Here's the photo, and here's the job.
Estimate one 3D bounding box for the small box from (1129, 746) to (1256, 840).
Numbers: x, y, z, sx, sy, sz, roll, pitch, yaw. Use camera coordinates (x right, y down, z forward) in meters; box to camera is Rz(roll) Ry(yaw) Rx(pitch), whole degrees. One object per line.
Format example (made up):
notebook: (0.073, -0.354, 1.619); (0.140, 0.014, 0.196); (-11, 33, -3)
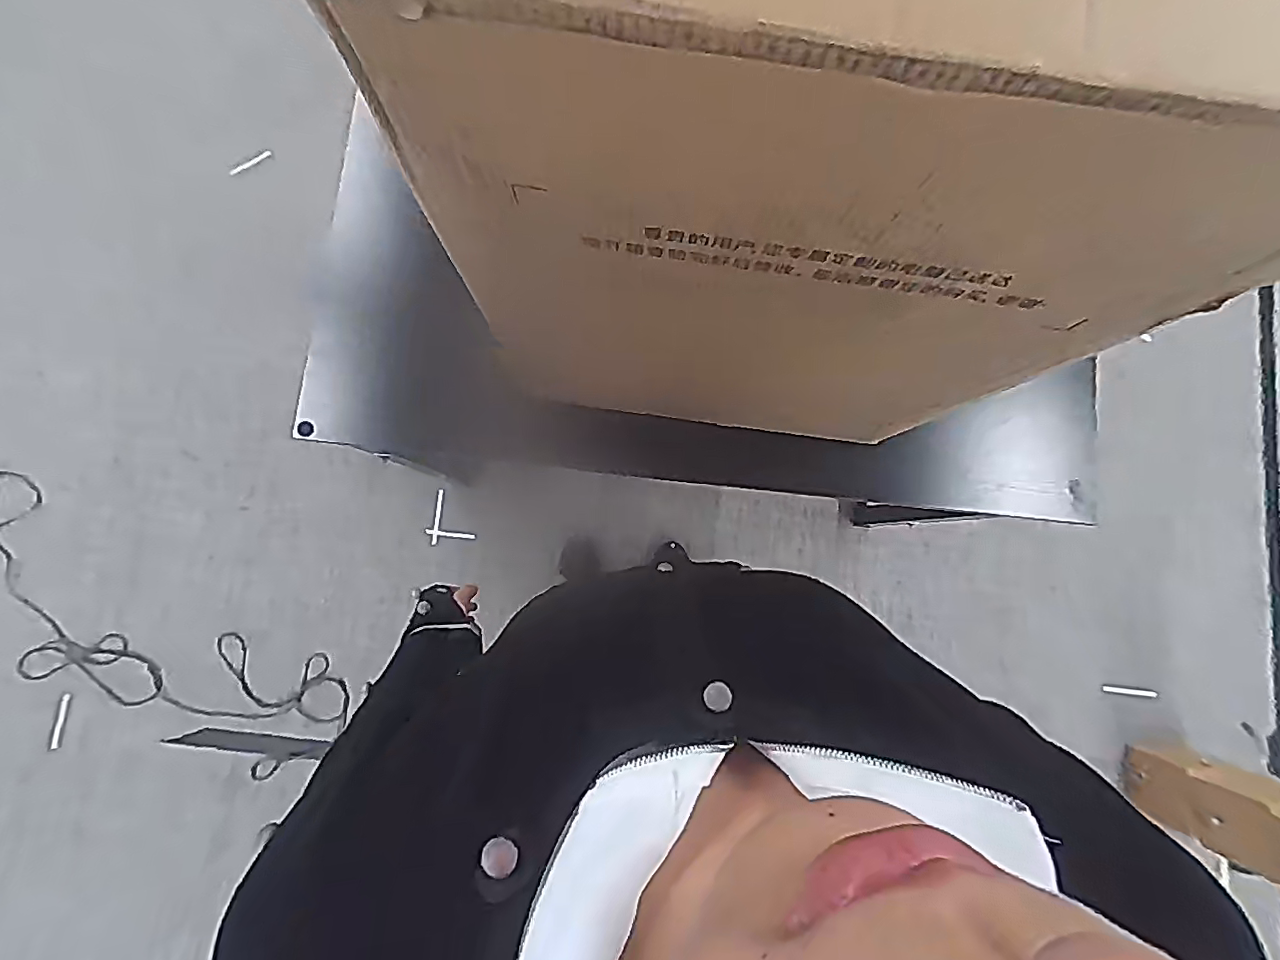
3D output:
small box: (1.437, 0.810, 1.408); (0.179, 0.176, 0.168); (3, 82, -1)

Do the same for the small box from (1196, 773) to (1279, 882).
small box: (1.456, 0.794, 1.244); (0.179, 0.176, 0.168); (-1, 82, -2)
